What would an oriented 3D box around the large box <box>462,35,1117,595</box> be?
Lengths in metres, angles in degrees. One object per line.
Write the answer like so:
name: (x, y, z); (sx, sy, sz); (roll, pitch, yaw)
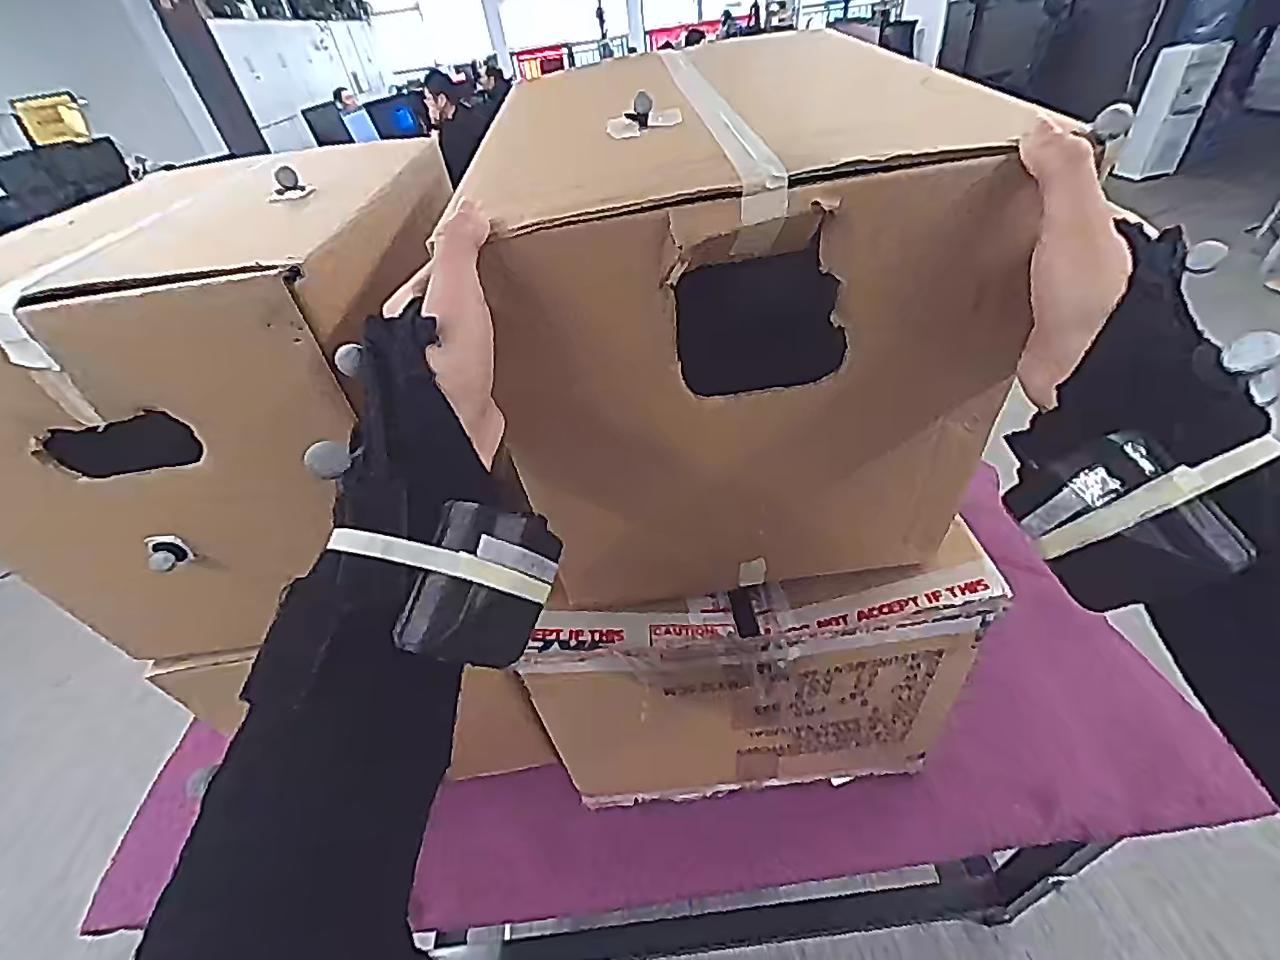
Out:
large box: (0.066, -0.162, 0.491); (0.320, 0.320, 0.408); (-9, 45, 3)
